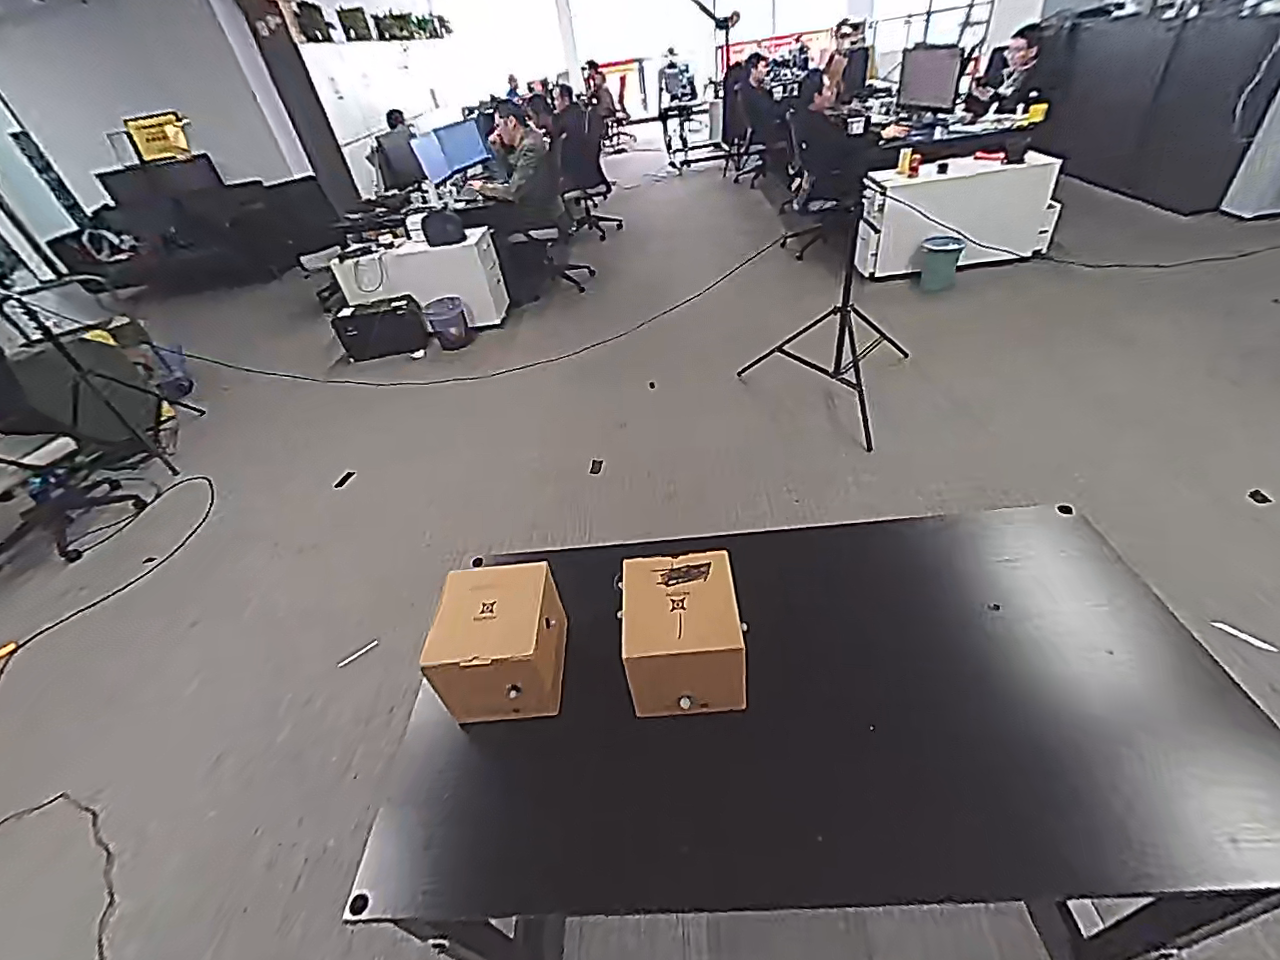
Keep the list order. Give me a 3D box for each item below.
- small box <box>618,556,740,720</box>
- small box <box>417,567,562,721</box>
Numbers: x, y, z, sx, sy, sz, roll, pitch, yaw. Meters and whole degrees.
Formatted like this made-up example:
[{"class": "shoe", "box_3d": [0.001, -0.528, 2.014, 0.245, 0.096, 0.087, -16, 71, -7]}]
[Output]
[{"class": "small box", "box_3d": [0.060, 0.243, 0.835, 0.168, 0.176, 0.179, -6, 40, 4]}, {"class": "small box", "box_3d": [-0.225, 0.267, 0.865, 0.168, 0.176, 0.179, -6, 38, 2]}]
